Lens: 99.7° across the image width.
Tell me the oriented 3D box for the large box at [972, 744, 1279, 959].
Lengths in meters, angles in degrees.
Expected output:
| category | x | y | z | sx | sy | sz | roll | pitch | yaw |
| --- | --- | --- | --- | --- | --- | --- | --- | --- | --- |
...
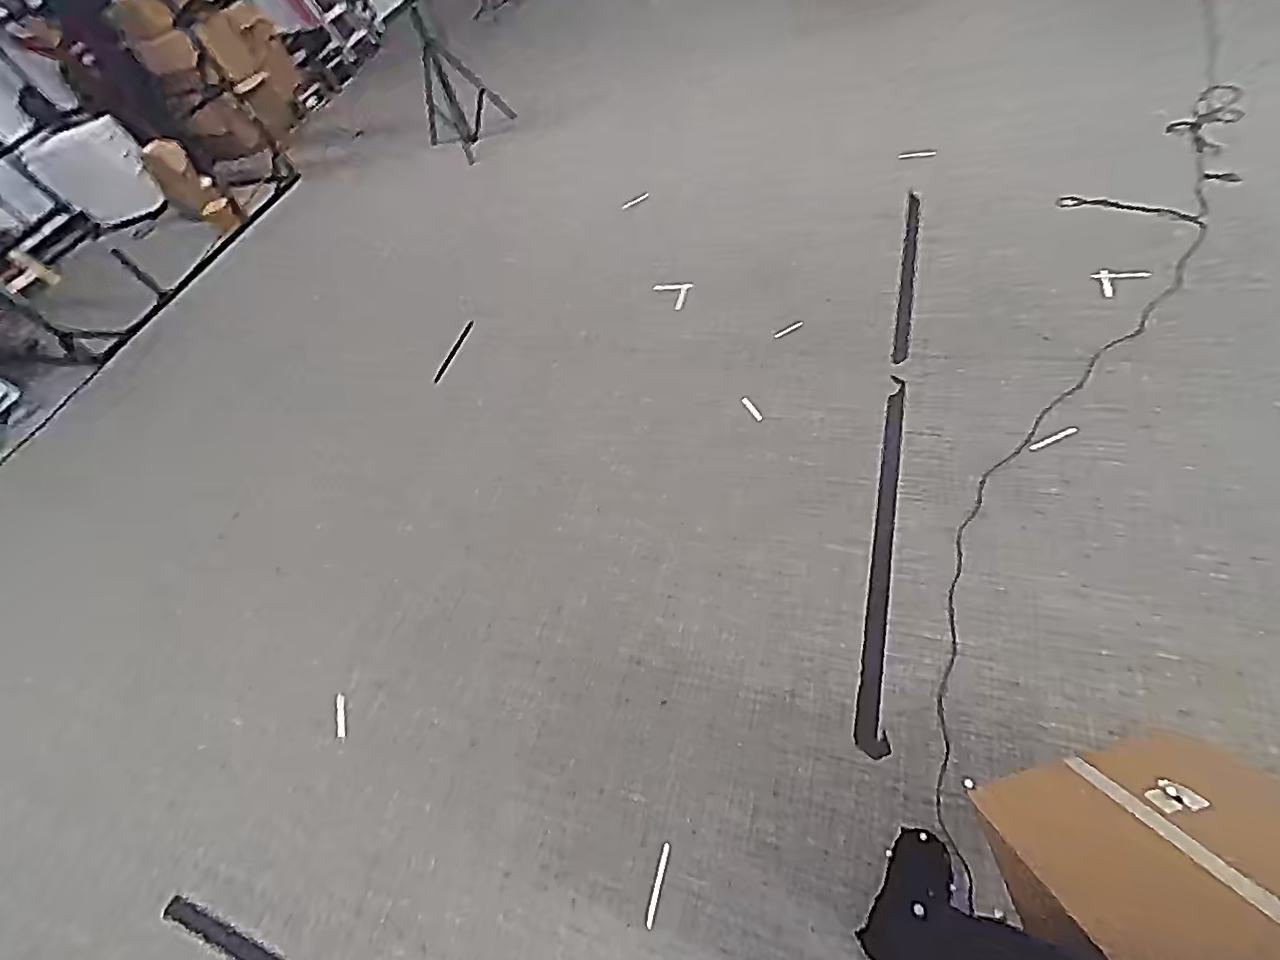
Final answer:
| category | x | y | z | sx | sy | sz | roll | pitch | yaw |
| --- | --- | --- | --- | --- | --- | --- | --- | --- | --- |
| large box | 0.677 | 0.573 | 0.603 | 0.320 | 0.408 | 0.320 | -20 | 85 | 6 |
